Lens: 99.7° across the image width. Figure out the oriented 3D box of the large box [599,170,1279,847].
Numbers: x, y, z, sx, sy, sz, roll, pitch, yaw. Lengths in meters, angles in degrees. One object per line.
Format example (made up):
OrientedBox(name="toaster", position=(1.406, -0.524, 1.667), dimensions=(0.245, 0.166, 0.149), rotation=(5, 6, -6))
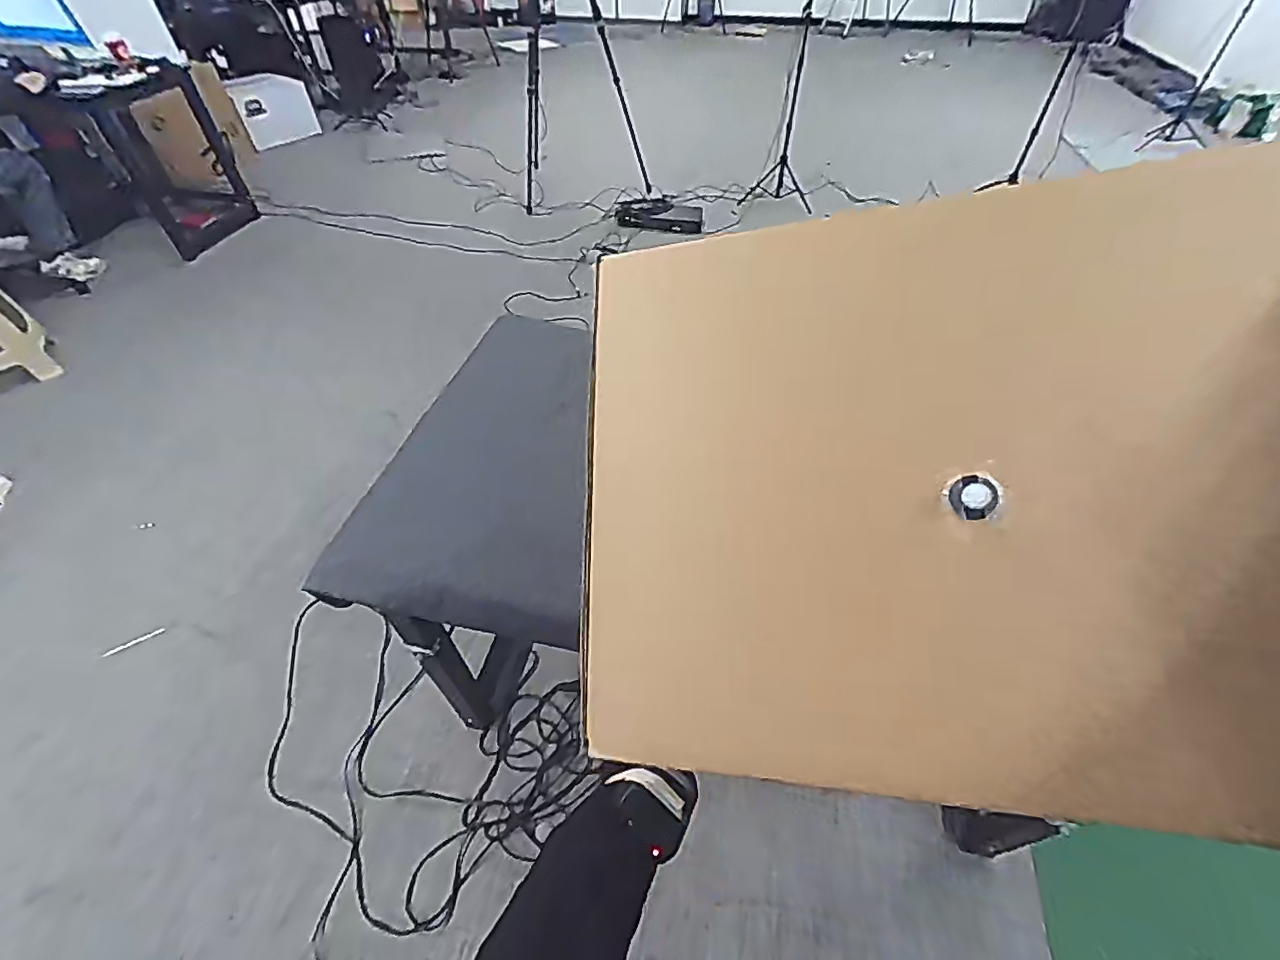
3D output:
OrientedBox(name="large box", position=(0.208, 0.030, 0.418), dimensions=(0.408, 0.320, 0.320), rotation=(-4, 80, 16))
